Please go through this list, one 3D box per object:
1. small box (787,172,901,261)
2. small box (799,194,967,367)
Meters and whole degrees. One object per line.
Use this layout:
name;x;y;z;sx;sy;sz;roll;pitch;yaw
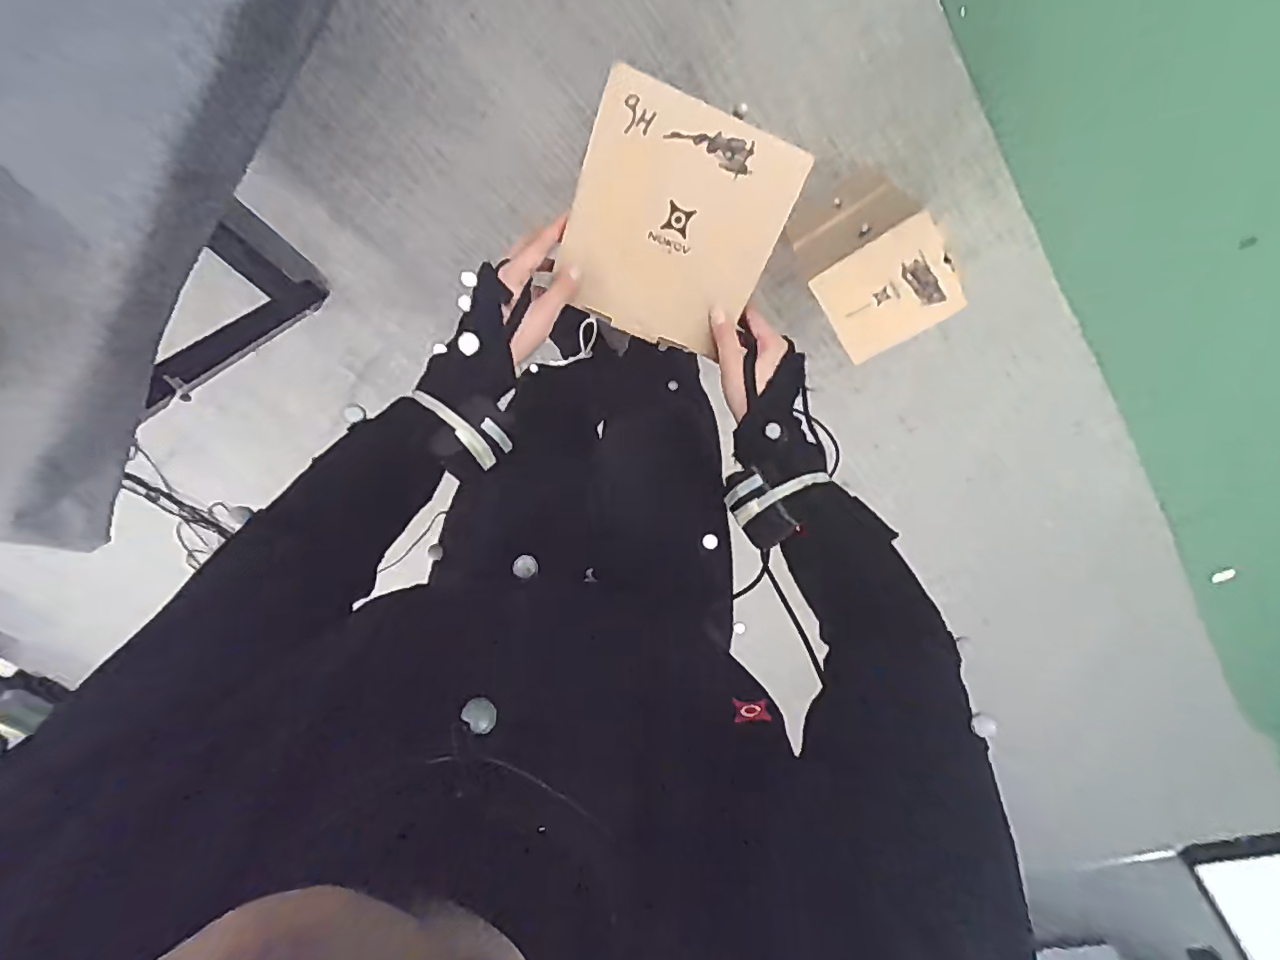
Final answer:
small box;0.384;-0.423;0.979;0.179;0.176;0.168;-27;119;26
small box;0.371;-0.318;0.852;0.179;0.176;0.168;-28;118;26
